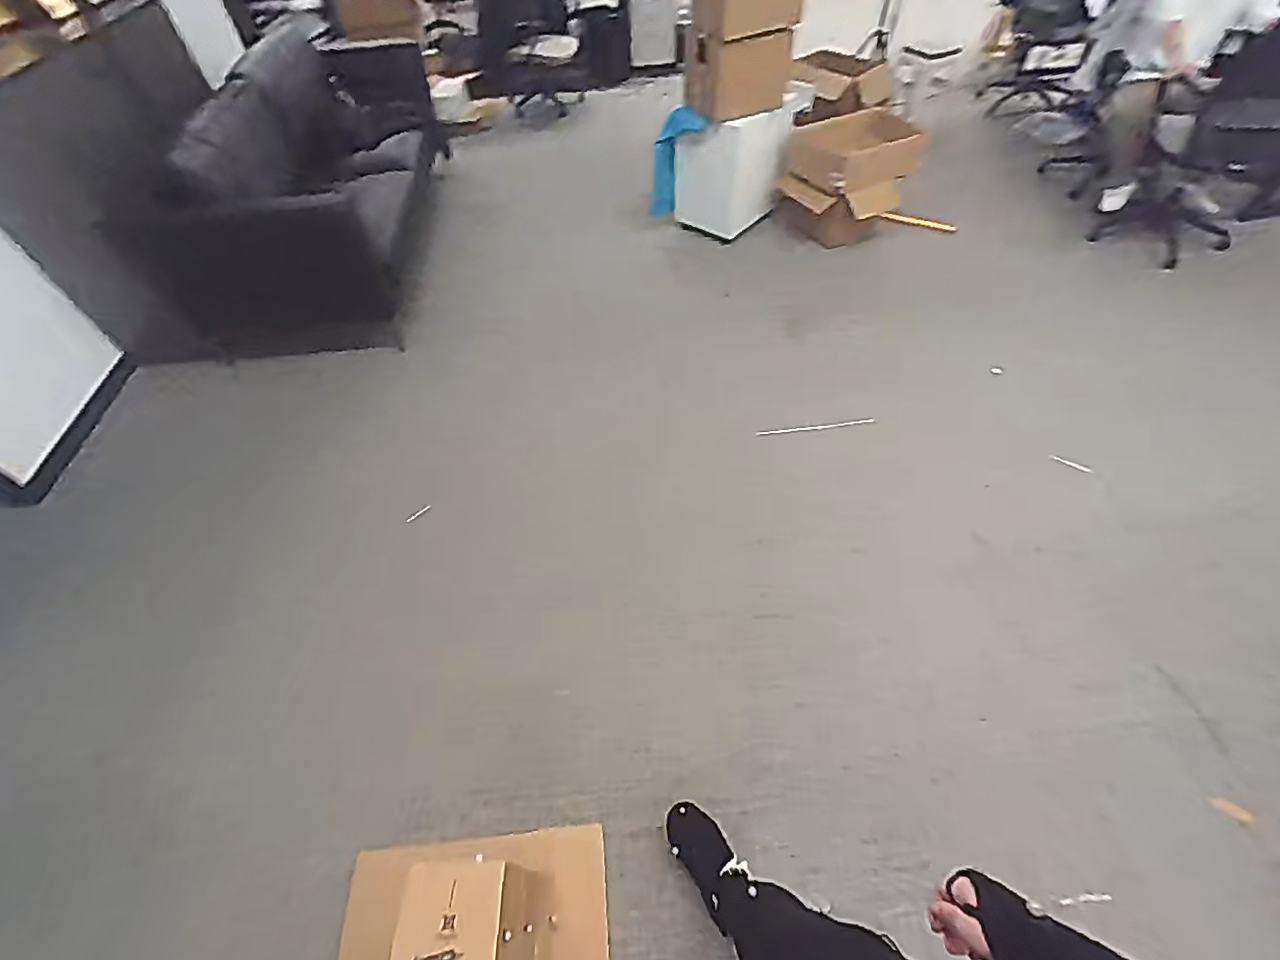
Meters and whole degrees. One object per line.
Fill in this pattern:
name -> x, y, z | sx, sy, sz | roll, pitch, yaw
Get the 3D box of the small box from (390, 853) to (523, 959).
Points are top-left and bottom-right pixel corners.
small box -> -0.302, 0.749, 0.926 | 0.168, 0.176, 0.179 | -2, 52, 0

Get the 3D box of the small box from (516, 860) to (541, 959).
small box -> -0.294, 0.851, 1.054 | 0.168, 0.176, 0.179 | -2, 52, 1

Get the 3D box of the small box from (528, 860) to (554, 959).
small box -> -0.284, 0.949, 1.185 | 0.168, 0.176, 0.179 | -4, 52, 0
